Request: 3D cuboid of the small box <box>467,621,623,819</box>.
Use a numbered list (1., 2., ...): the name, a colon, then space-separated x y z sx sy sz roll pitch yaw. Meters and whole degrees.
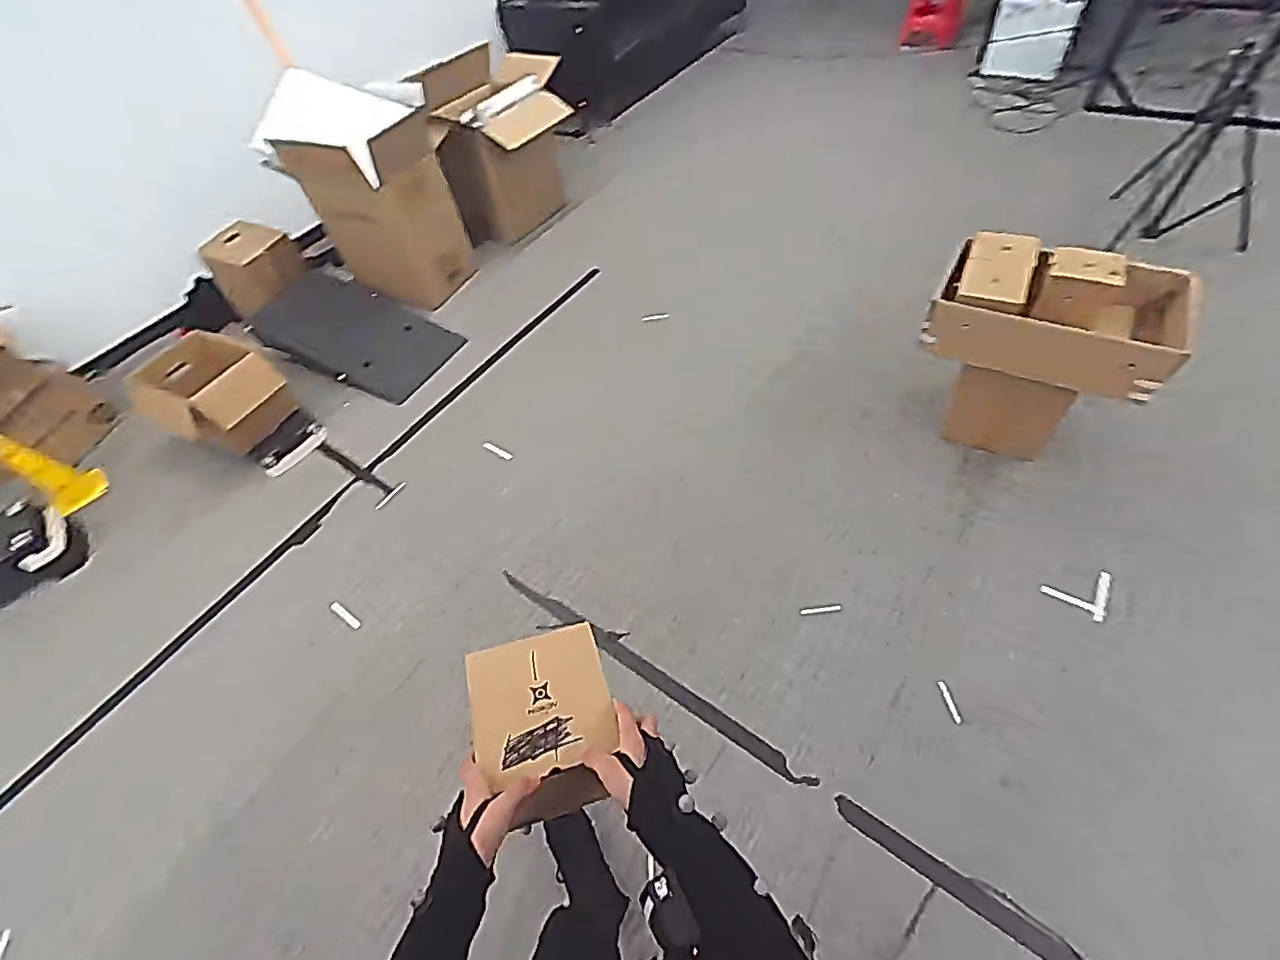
1. small box: -0.120 0.319 0.709 0.168 0.176 0.179 -11 48 -13
